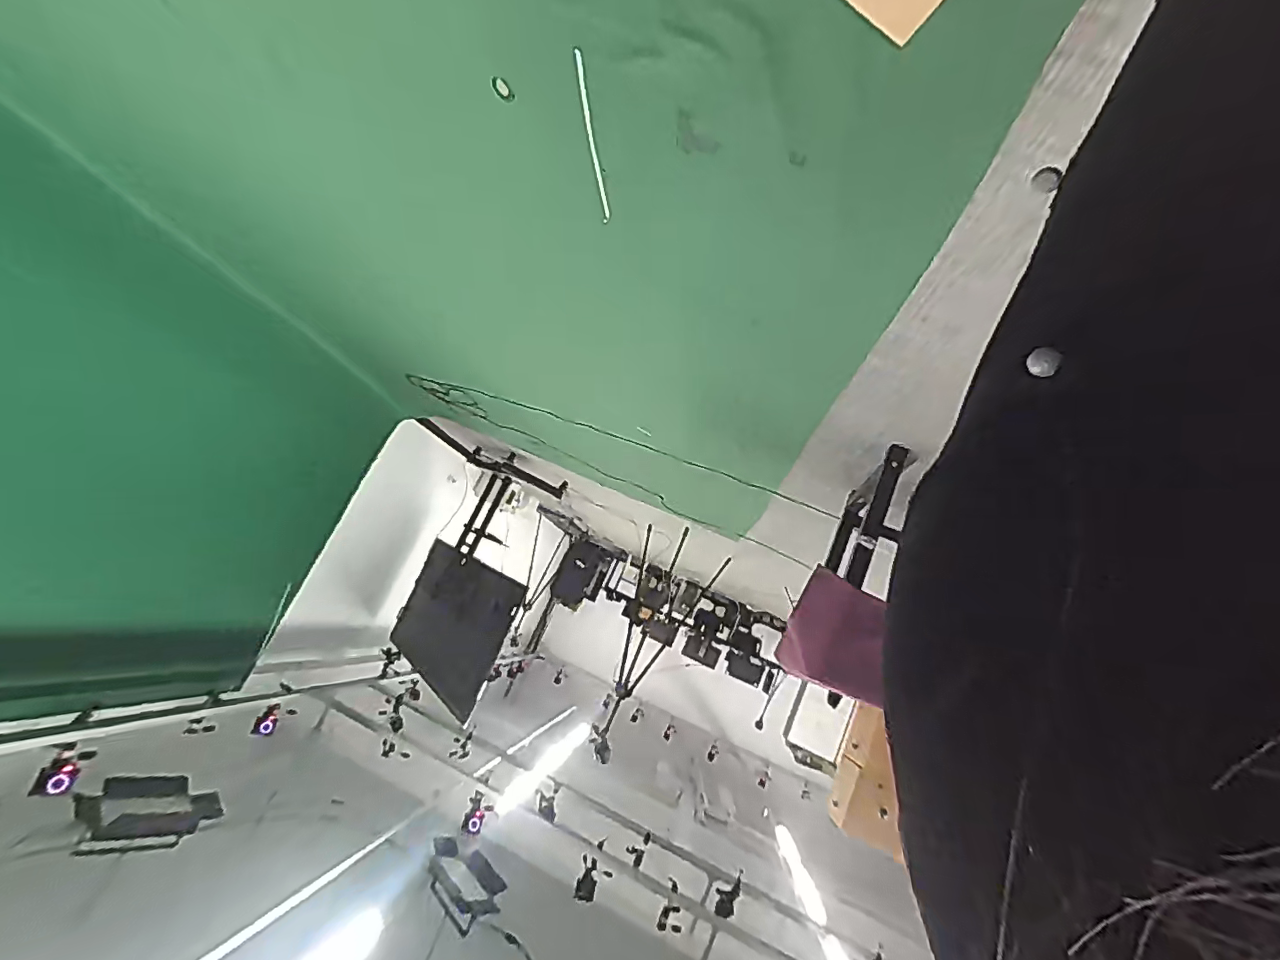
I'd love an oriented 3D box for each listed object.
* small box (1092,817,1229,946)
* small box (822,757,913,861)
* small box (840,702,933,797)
[{"bbox_3d":[1.305,0.995,1.358,0.179,0.176,0.168,24,168,10],"label":"small box"},{"bbox_3d":[0.629,0.896,1.494,0.168,0.176,0.179,23,167,10],"label":"small box"},{"bbox_3d":[0.698,0.751,1.530,0.168,0.176,0.179,23,167,8],"label":"small box"}]
